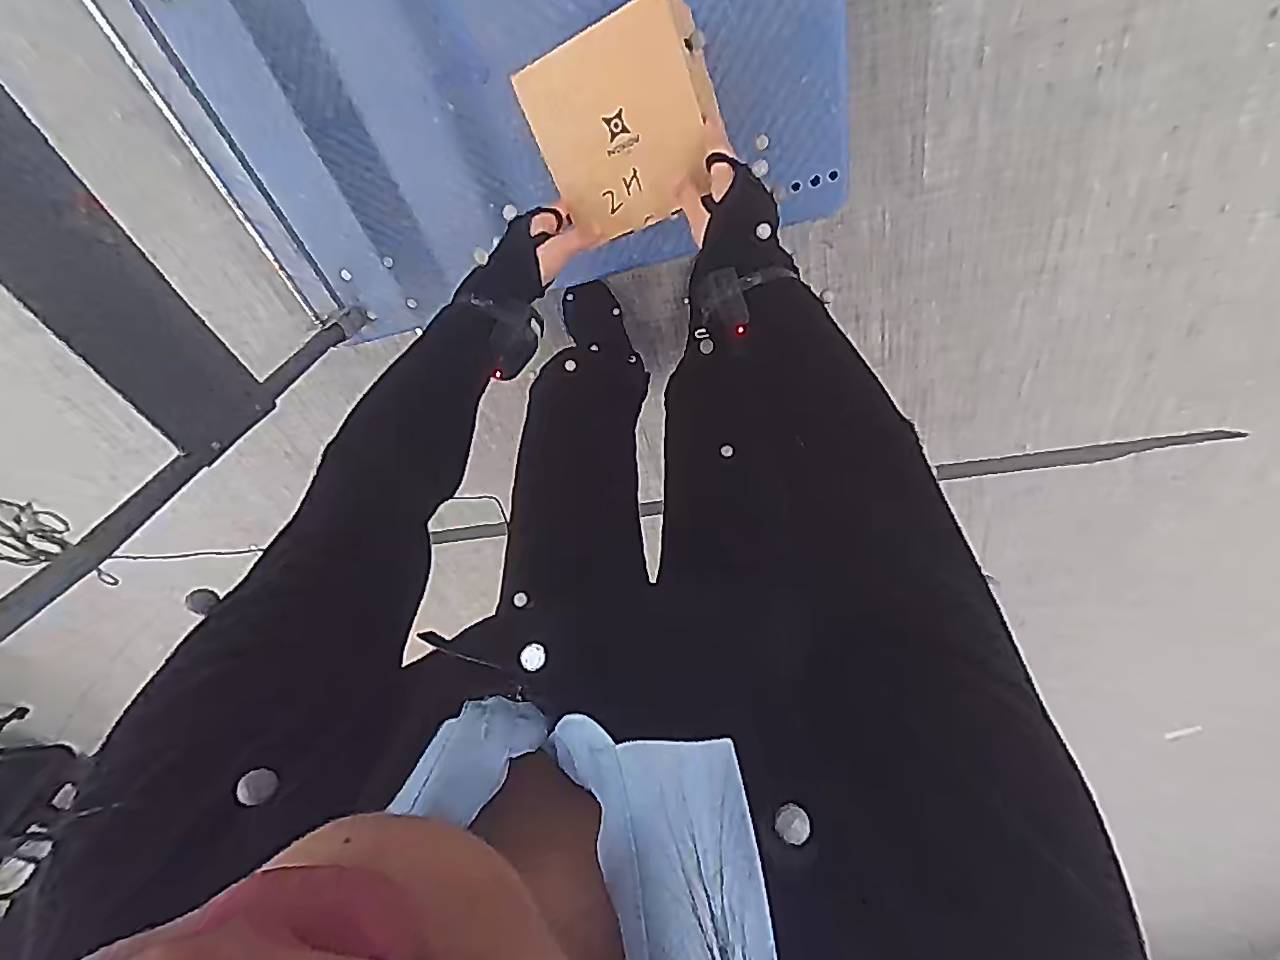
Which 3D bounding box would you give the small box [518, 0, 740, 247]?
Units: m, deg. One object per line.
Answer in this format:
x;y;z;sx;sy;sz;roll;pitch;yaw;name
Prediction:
0.003;-0.384;0.590;0.168;0.176;0.179;-14;119;24;small box
